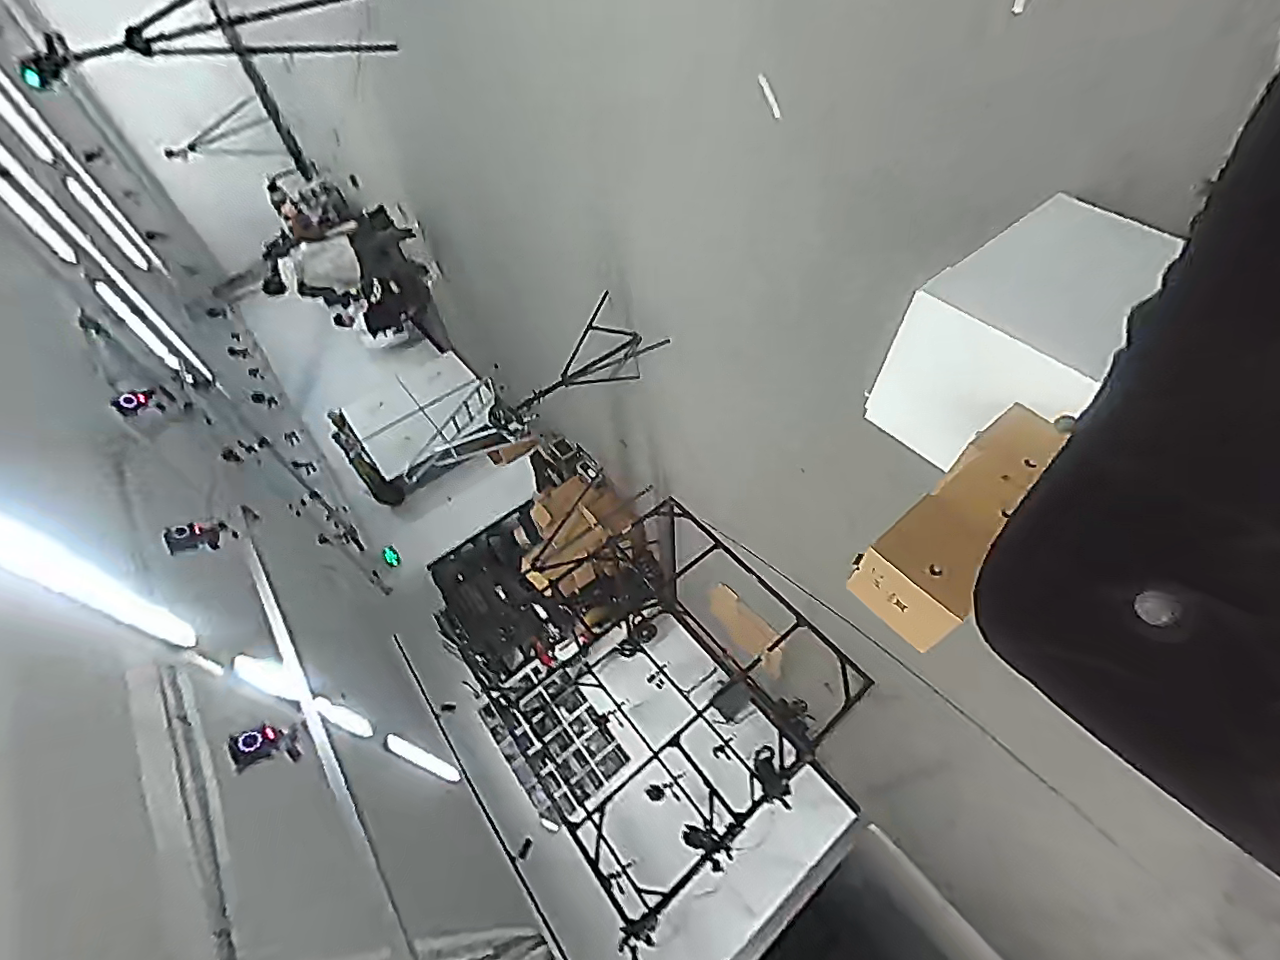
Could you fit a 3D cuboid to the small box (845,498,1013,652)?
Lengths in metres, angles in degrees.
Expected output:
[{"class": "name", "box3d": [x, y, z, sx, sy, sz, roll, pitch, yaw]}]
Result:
[{"class": "small box", "box3d": [0.505, 0.163, 0.956, 0.179, 0.176, 0.168, 45, 158, 28]}]

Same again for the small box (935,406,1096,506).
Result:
[{"class": "small box", "box3d": [0.747, -0.016, 1.084, 0.179, 0.176, 0.168, 46, 158, 27]}]

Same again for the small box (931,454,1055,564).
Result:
[{"class": "small box", "box3d": [0.633, 0.082, 1.022, 0.168, 0.176, 0.179, 46, 159, 25]}]
